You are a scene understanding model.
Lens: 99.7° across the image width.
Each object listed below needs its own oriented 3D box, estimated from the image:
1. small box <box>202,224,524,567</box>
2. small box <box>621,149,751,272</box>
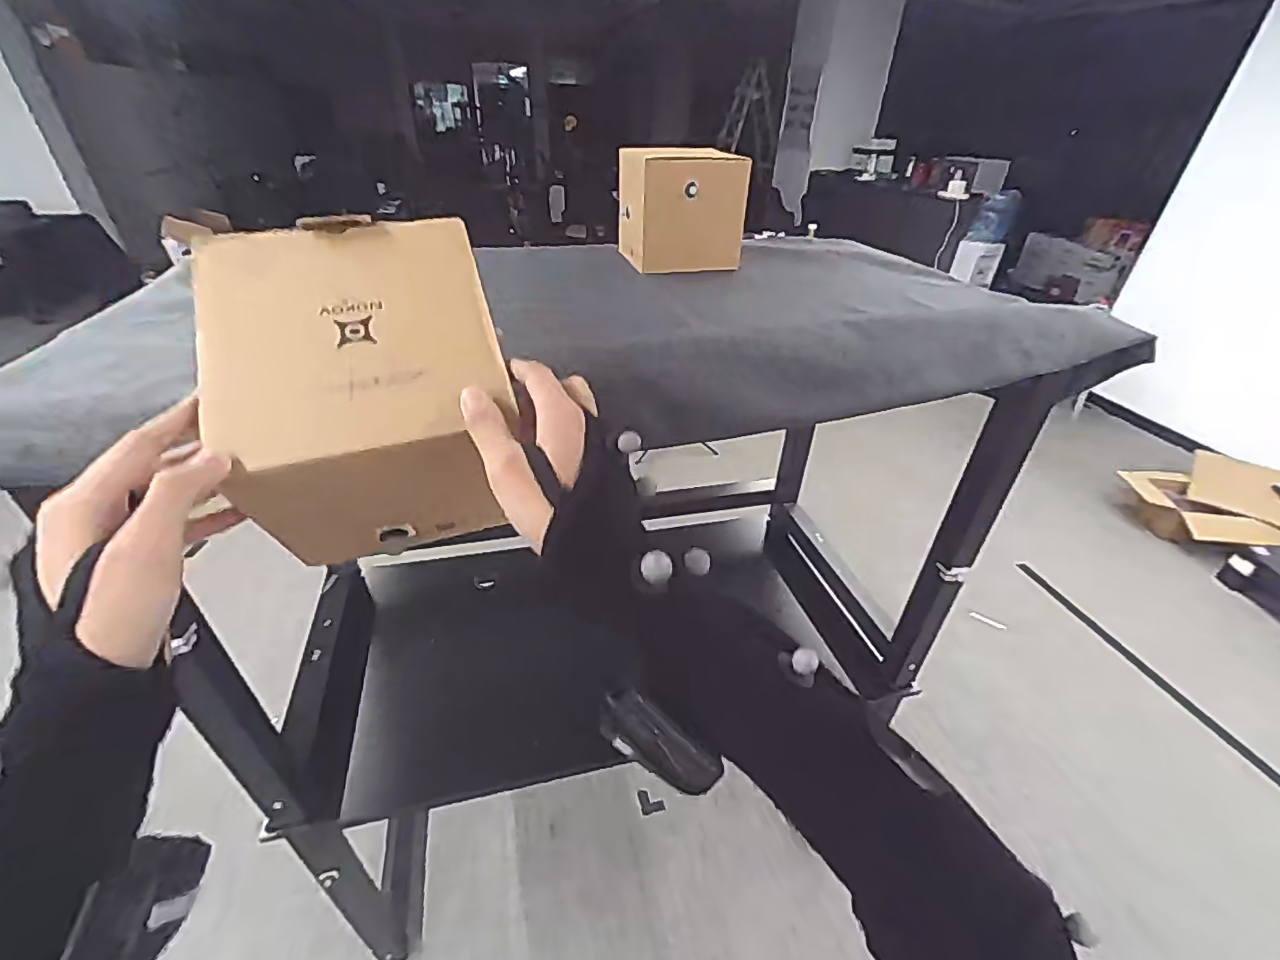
[{"bbox_3d":[-0.188,-0.056,0.403,0.168,0.176,0.179,-14,68,-17],"label":"small box"},{"bbox_3d":[0.068,-0.460,0.920,0.179,0.176,0.168,-7,36,-12],"label":"small box"}]
